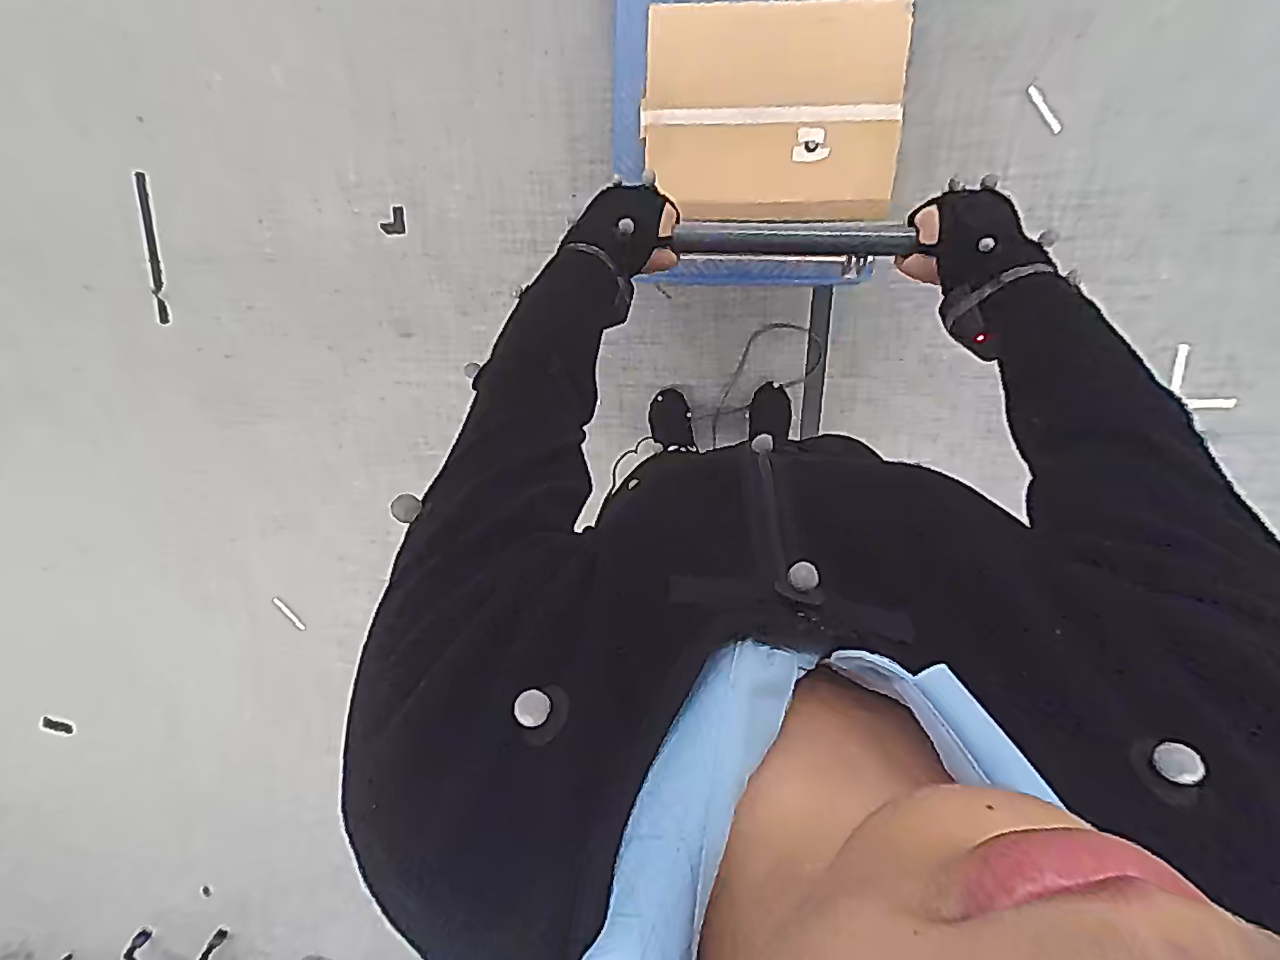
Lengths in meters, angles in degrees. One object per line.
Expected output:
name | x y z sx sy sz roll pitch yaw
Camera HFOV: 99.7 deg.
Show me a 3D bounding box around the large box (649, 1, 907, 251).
large box | 0.225 -0.628 1.027 0.408 0.320 0.320 2 105 5
